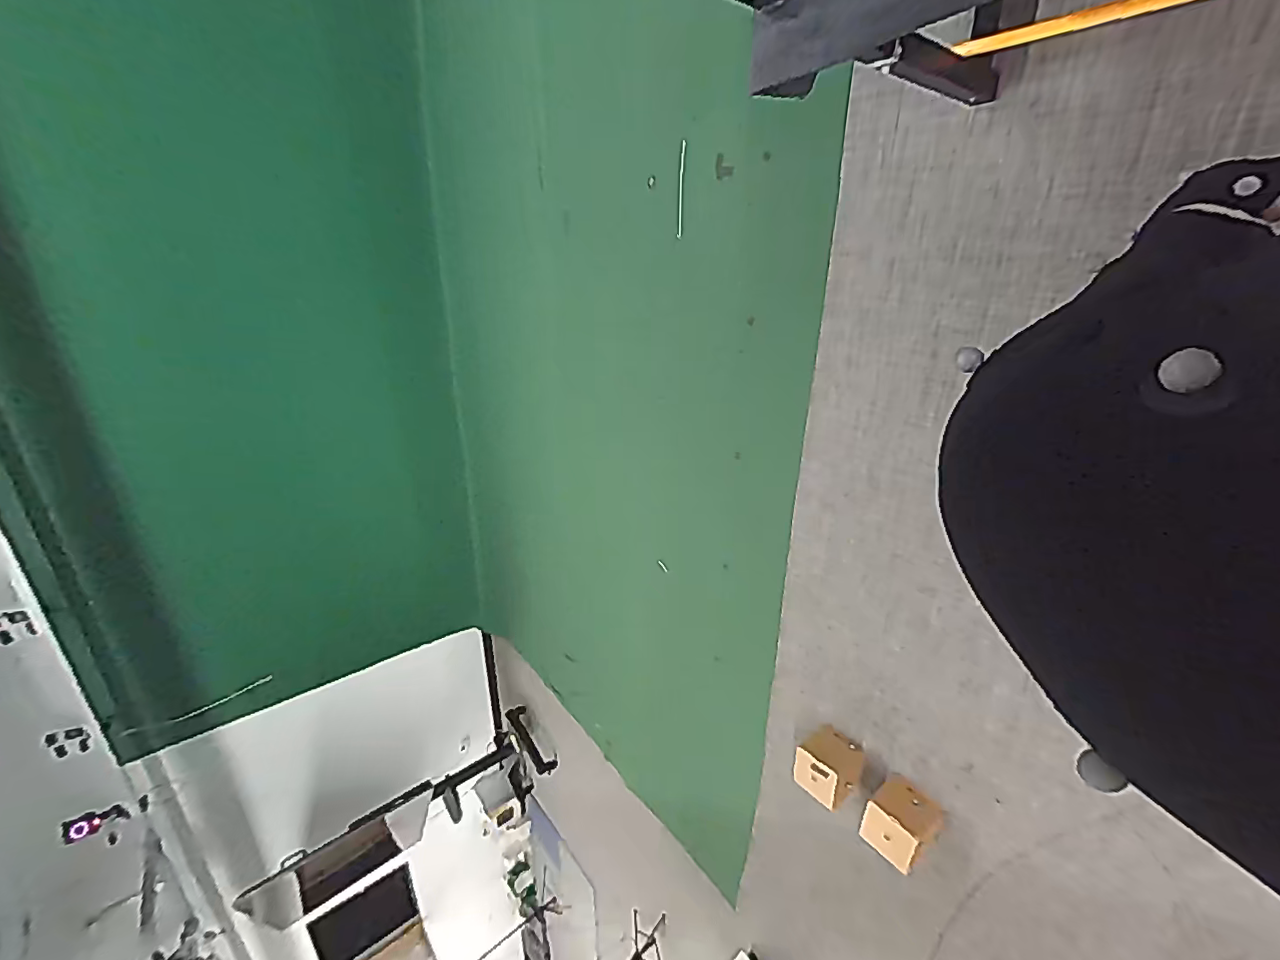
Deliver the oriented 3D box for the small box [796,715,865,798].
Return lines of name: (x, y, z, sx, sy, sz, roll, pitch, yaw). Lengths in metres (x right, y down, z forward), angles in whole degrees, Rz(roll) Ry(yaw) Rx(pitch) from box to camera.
small box: (0.695, 0.998, 1.969, 0.168, 0.176, 0.179, 25, 123, 47)

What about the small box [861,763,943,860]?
small box: (0.861, 1.082, 1.775, 0.168, 0.176, 0.179, 29, 125, 46)
